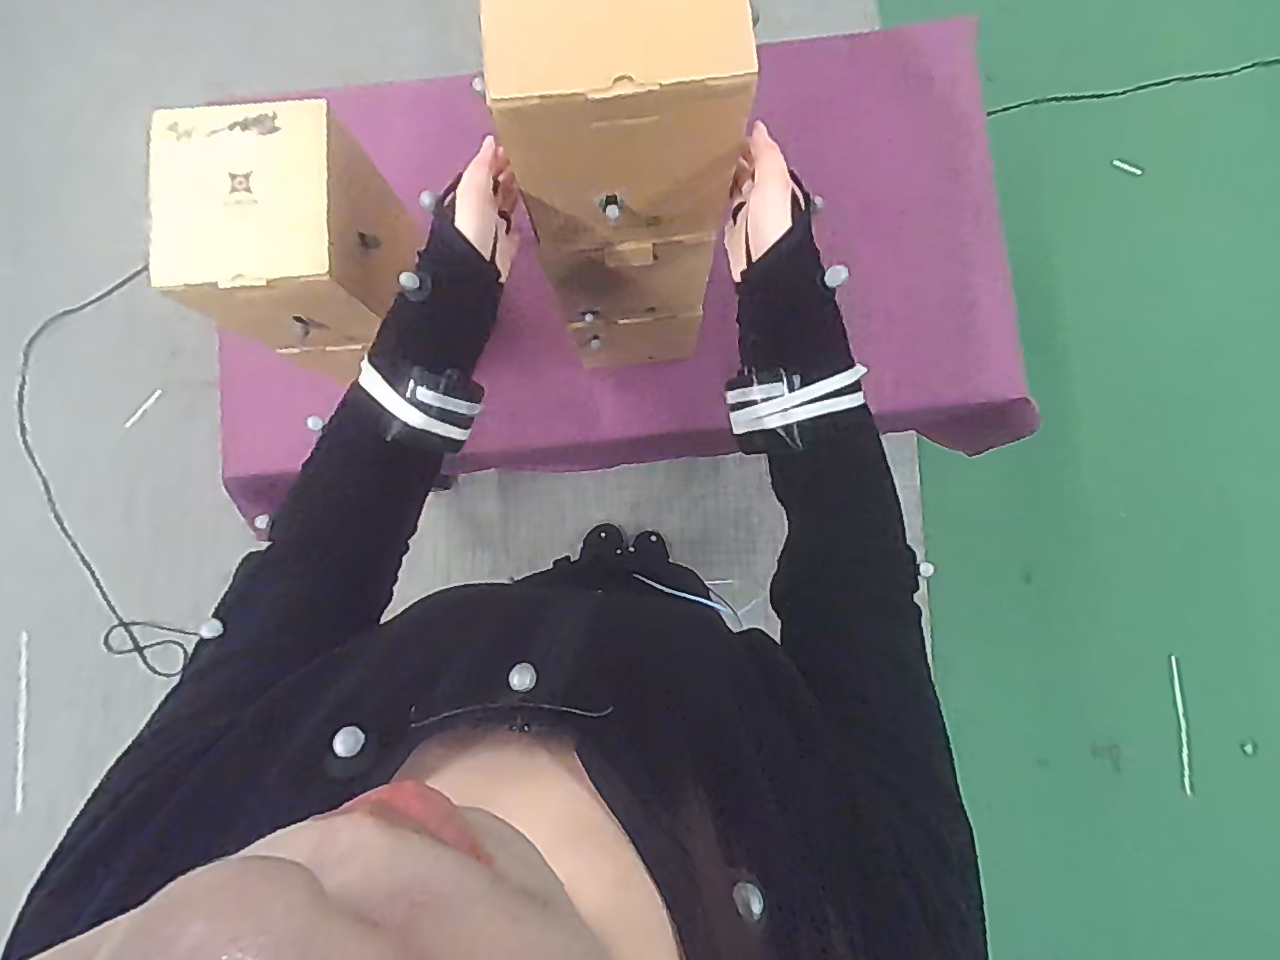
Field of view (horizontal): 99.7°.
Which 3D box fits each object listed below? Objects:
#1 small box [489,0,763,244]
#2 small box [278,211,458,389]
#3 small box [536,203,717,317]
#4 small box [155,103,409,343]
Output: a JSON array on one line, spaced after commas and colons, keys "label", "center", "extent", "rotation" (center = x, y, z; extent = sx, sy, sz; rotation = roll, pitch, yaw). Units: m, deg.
[{"label": "small box", "center": [-0.014, -0.312, 0.414], "extent": [0.168, 0.176, 0.179], "rotation": [-6, 85, 0]}, {"label": "small box", "center": [-0.358, -0.235, 0.739], "extent": [0.168, 0.176, 0.179], "rotation": [-4, 85, 1]}, {"label": "small box", "center": [-0.014, -0.287, 0.576], "extent": [0.168, 0.176, 0.179], "rotation": [-5, 83, 0]}, {"label": "small box", "center": [-0.360, -0.253, 0.575], "extent": [0.168, 0.176, 0.179], "rotation": [-4, 85, -1]}]
